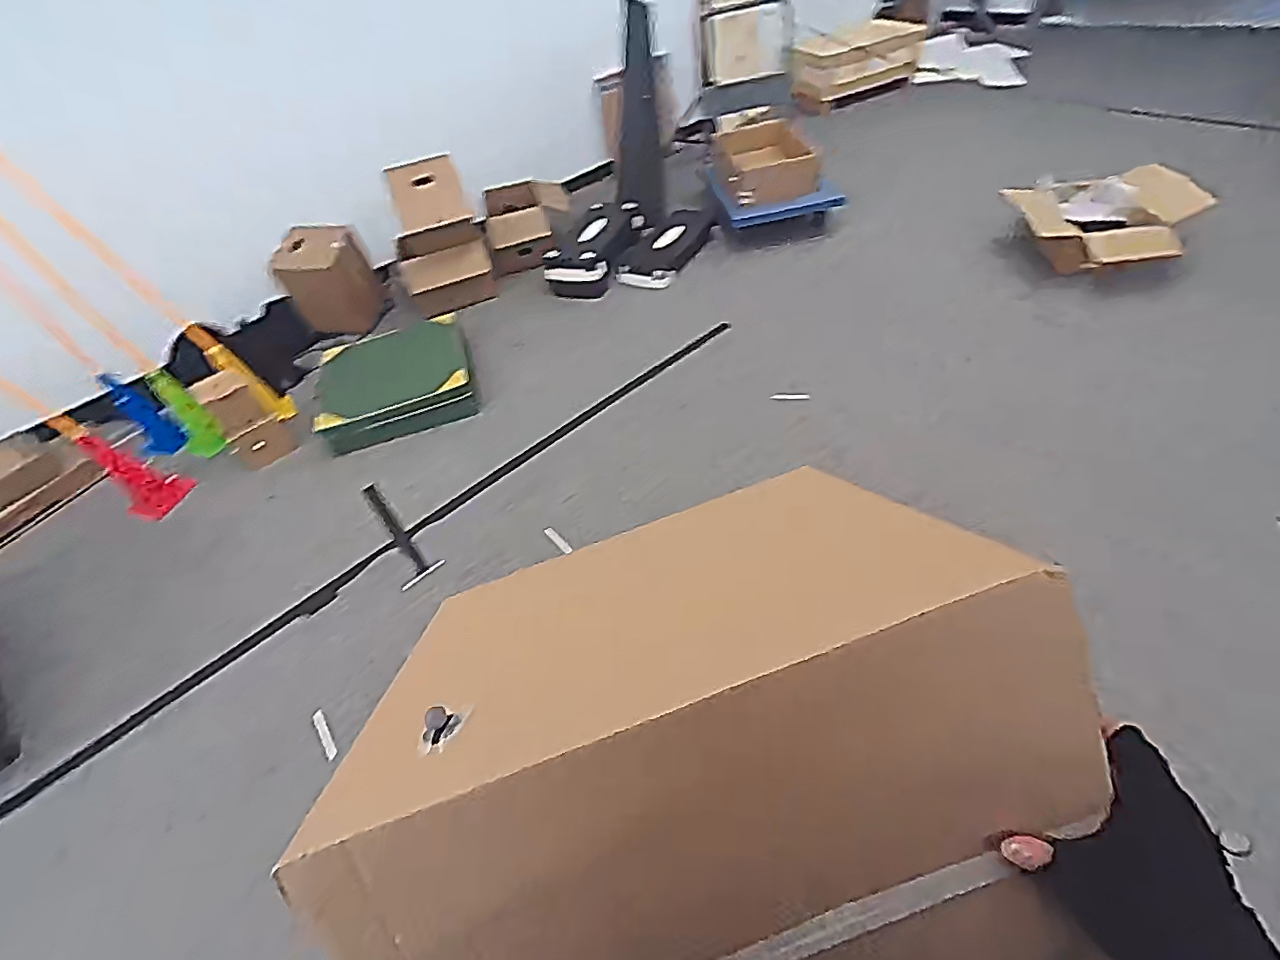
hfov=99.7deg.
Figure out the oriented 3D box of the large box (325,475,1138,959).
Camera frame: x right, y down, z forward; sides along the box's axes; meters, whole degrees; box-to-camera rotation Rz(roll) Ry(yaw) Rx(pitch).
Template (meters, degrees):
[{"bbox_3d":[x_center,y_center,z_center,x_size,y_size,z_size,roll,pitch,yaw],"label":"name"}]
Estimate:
[{"bbox_3d":[0.062,0.225,0.447,0.408,0.320,0.320,-20,12,-1],"label":"large box"}]
